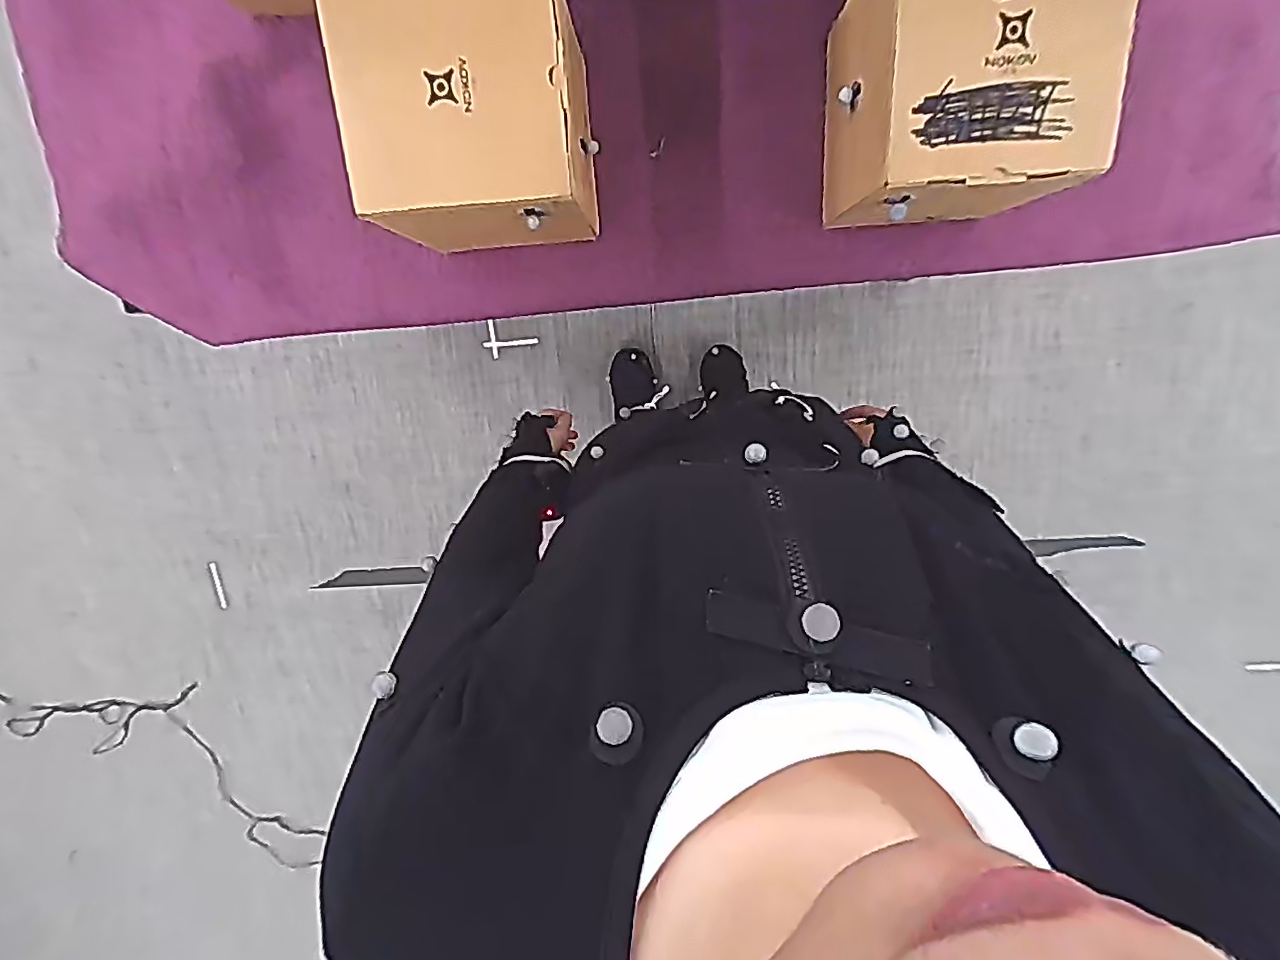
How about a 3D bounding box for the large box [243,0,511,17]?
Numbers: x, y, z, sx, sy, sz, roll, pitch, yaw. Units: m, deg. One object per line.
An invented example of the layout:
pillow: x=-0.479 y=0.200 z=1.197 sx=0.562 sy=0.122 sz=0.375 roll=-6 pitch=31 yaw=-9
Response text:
large box: x=-0.243 y=-0.613 z=0.337 sx=0.320 sy=0.320 sz=0.408 roll=-2 pitch=108 yaw=3
